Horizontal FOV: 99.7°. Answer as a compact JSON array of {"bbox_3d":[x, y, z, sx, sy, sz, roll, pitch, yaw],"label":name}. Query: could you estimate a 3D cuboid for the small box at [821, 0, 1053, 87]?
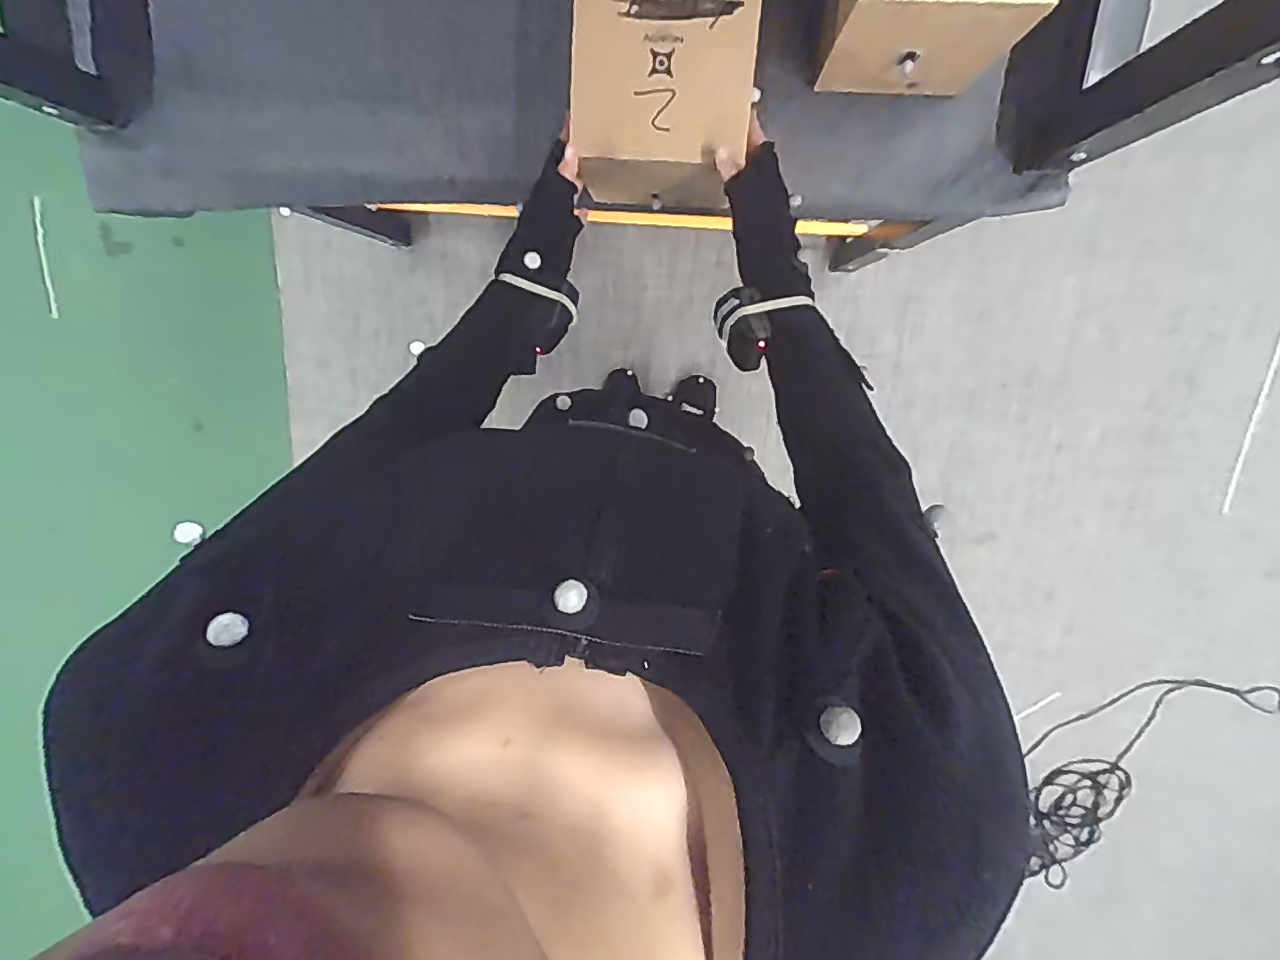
[{"bbox_3d":[0.279,-0.506,0.512,0.168,0.176,0.179,4,103,4],"label":"small box"}]
